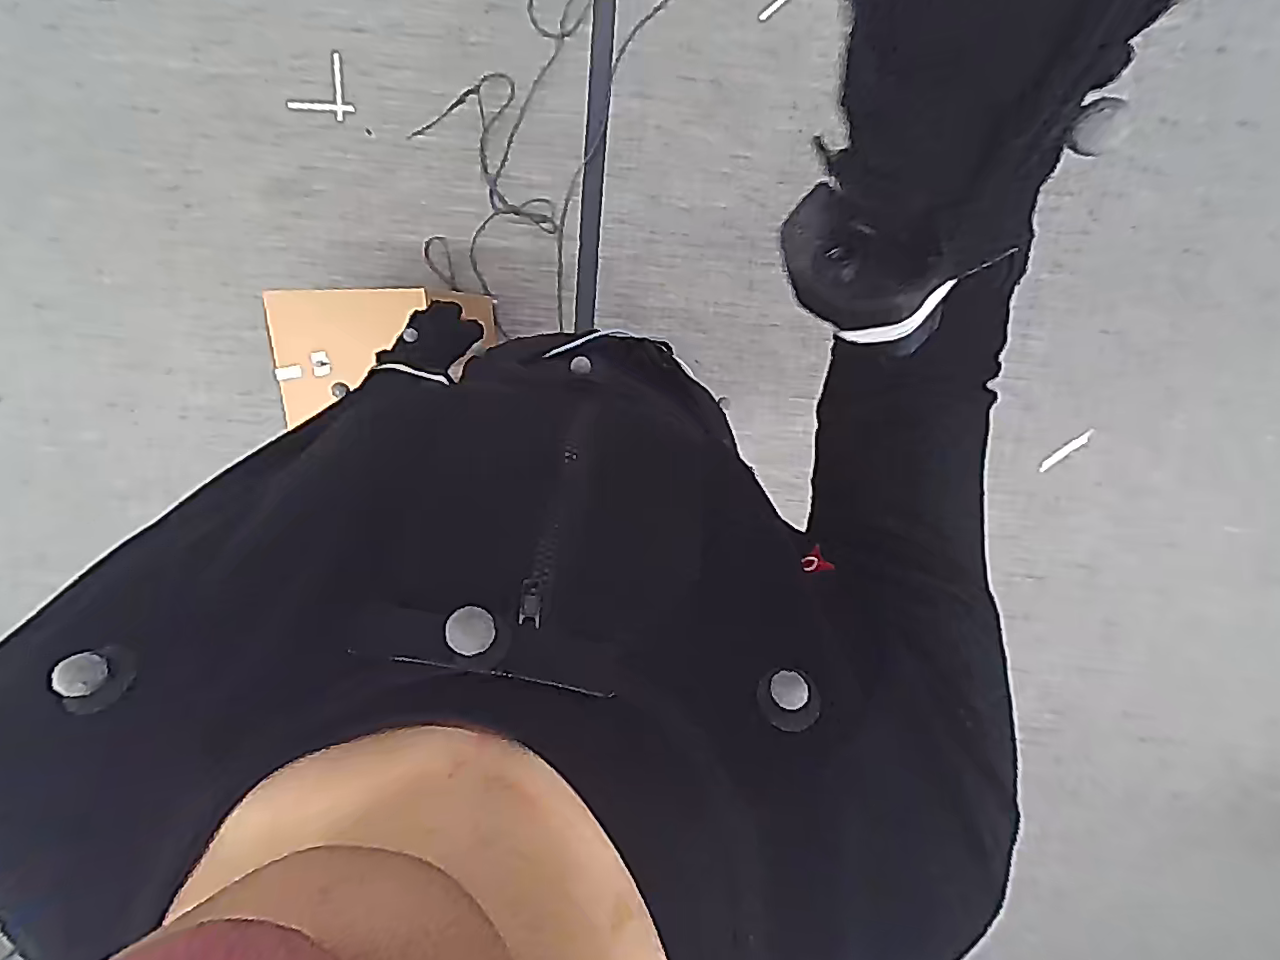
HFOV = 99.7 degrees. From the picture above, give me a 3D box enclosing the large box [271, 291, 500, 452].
[{"bbox_3d":[-0.539,-0.260,1.237,0.320,0.408,0.320,1,107,2],"label":"large box"}]
